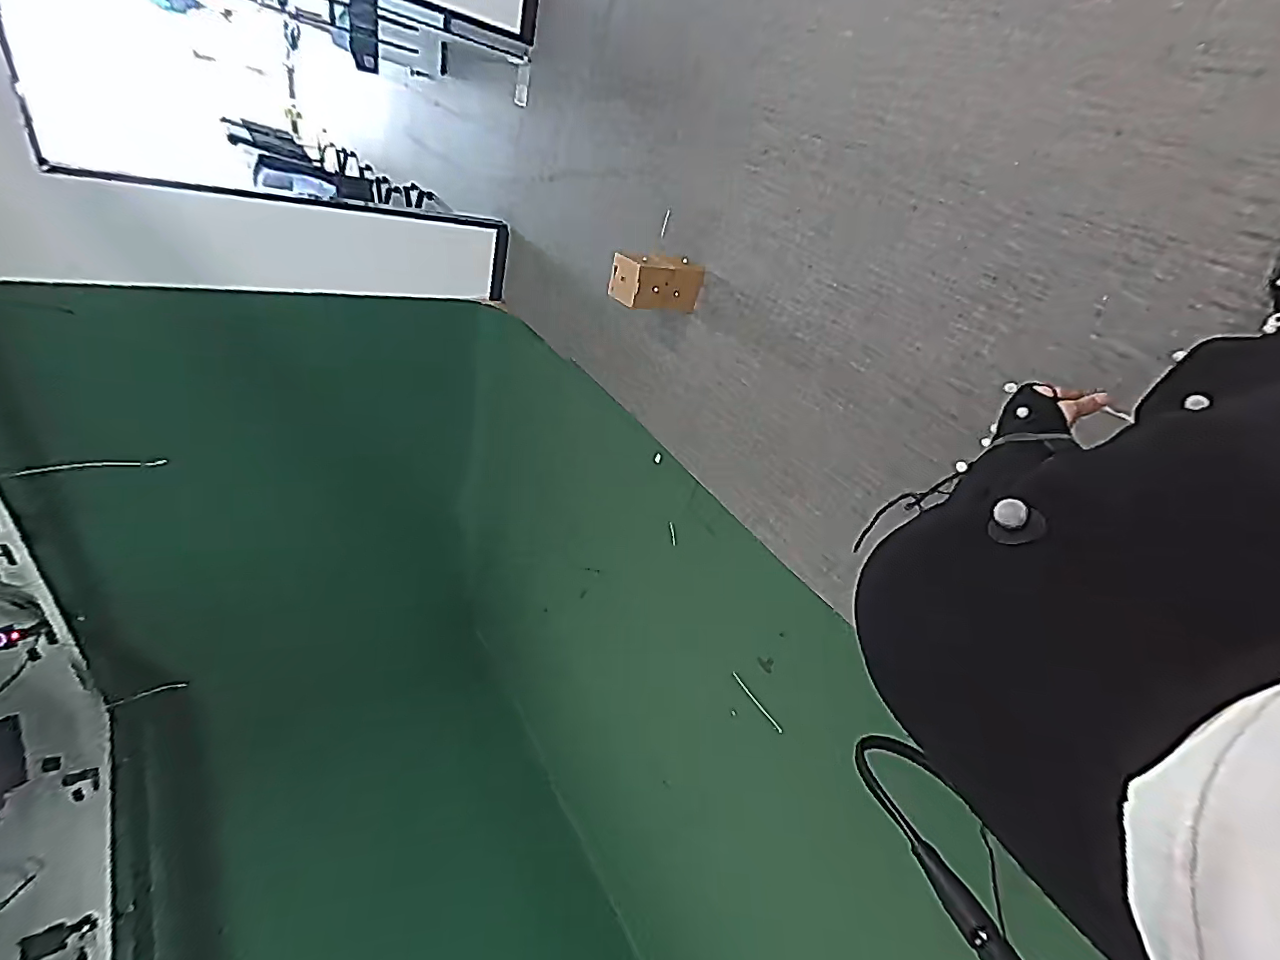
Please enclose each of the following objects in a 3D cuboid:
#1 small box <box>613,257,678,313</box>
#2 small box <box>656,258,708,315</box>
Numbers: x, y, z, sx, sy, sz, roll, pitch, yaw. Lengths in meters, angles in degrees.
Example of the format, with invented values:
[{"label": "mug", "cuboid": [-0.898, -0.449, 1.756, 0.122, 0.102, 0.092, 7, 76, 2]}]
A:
[{"label": "small box", "cuboid": [0.024, -0.770, 2.143, 0.179, 0.176, 0.168, 43, 129, 37]}, {"label": "small box", "cuboid": [0.154, -0.797, 2.239, 0.168, 0.176, 0.179, 46, 131, 36]}]
